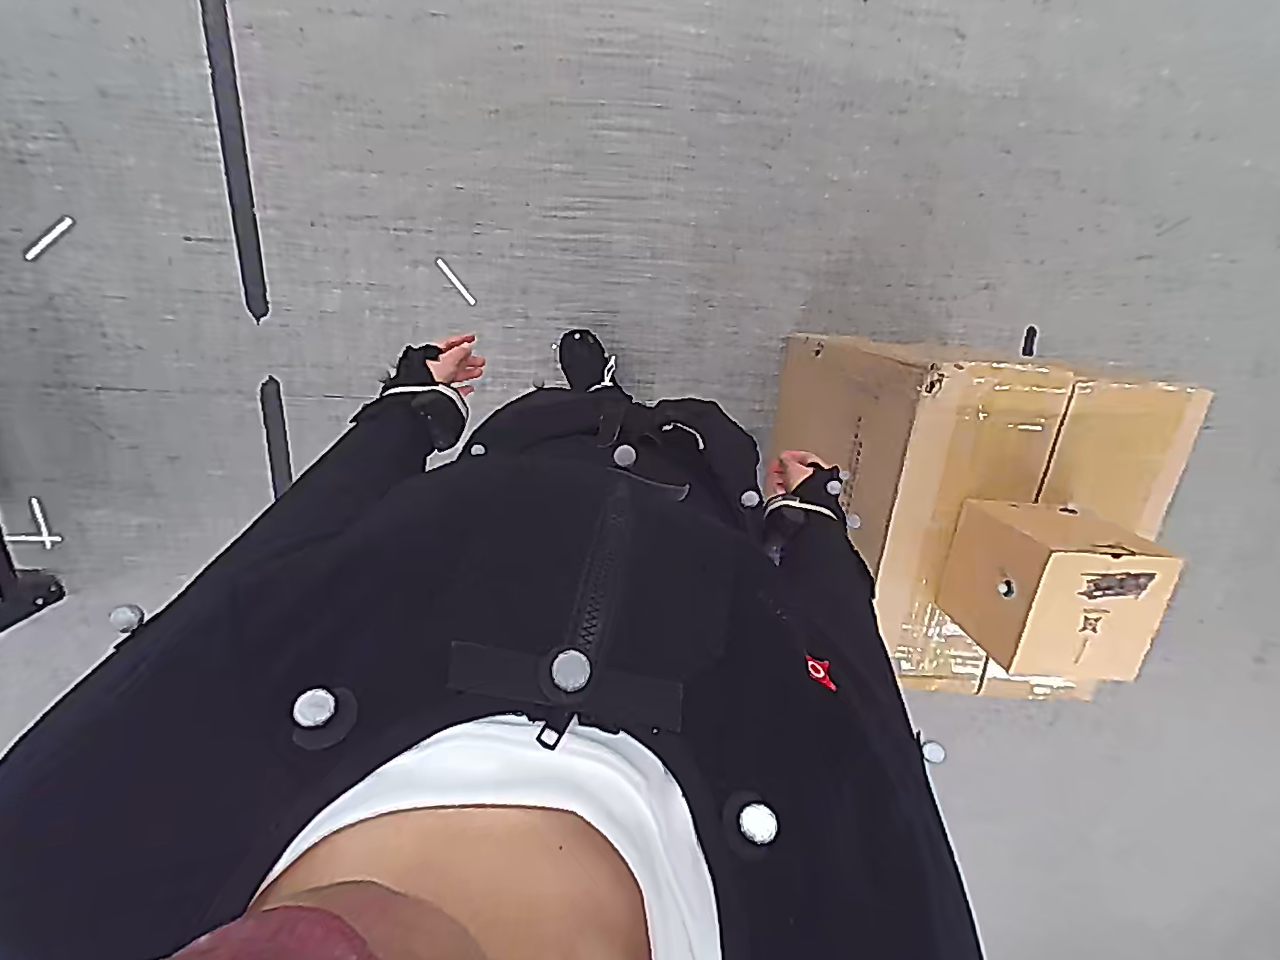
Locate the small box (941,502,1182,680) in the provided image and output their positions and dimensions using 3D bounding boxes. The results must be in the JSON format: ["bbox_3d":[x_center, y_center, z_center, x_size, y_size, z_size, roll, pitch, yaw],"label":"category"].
[{"bbox_3d":[0.537,0.138,0.721,0.168,0.176,0.179,4,108,-3],"label":"small box"}]
